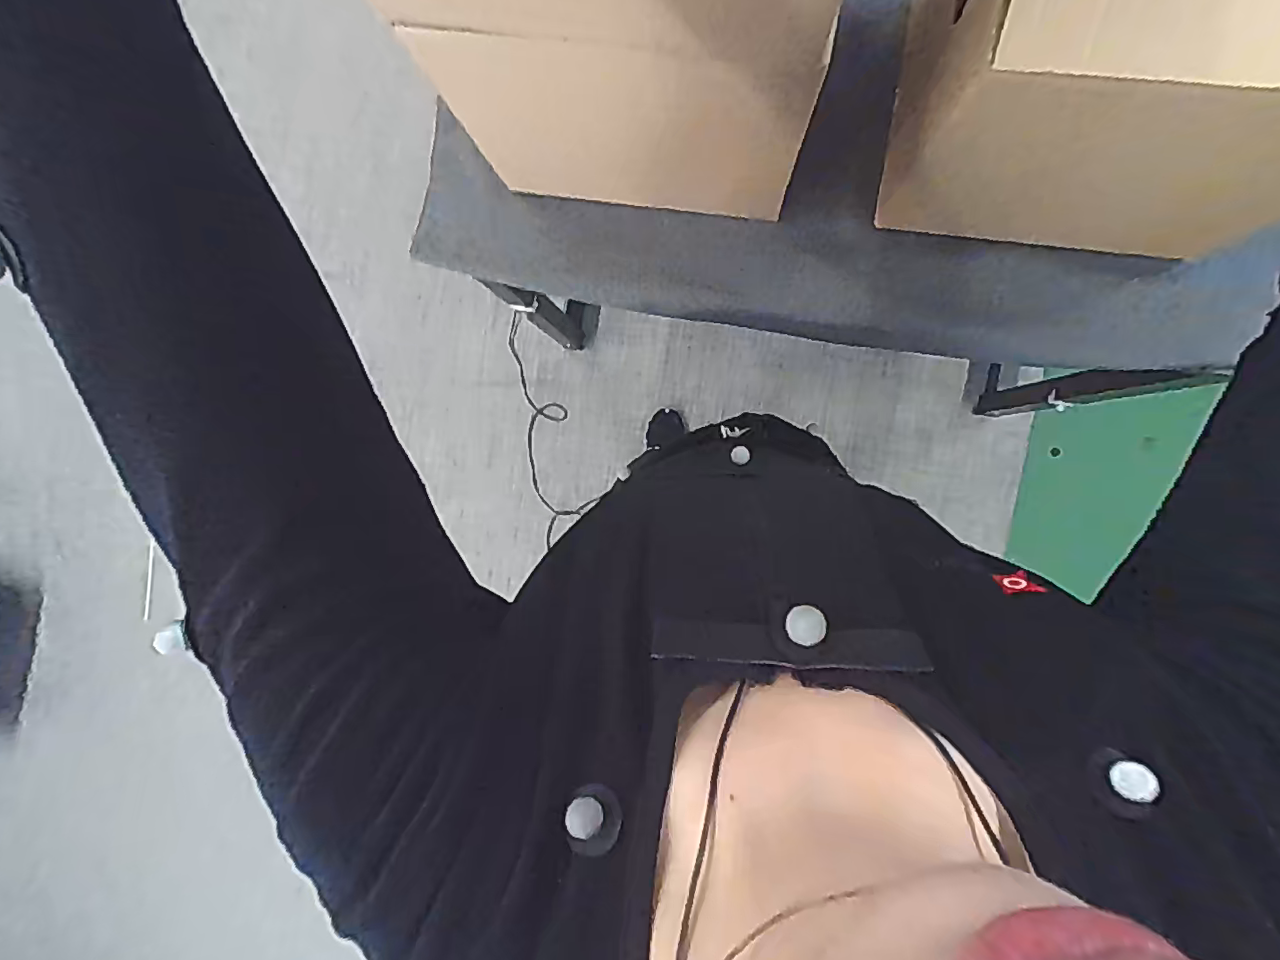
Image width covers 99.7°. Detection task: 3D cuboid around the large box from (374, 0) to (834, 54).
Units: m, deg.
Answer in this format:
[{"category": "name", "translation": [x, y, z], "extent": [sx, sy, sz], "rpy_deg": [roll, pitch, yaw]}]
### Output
[{"category": "large box", "translation": [-0.032, -0.533, 0.319], "extent": [0.408, 0.320, 0.320], "rpy_deg": [11, 94, 4]}]
